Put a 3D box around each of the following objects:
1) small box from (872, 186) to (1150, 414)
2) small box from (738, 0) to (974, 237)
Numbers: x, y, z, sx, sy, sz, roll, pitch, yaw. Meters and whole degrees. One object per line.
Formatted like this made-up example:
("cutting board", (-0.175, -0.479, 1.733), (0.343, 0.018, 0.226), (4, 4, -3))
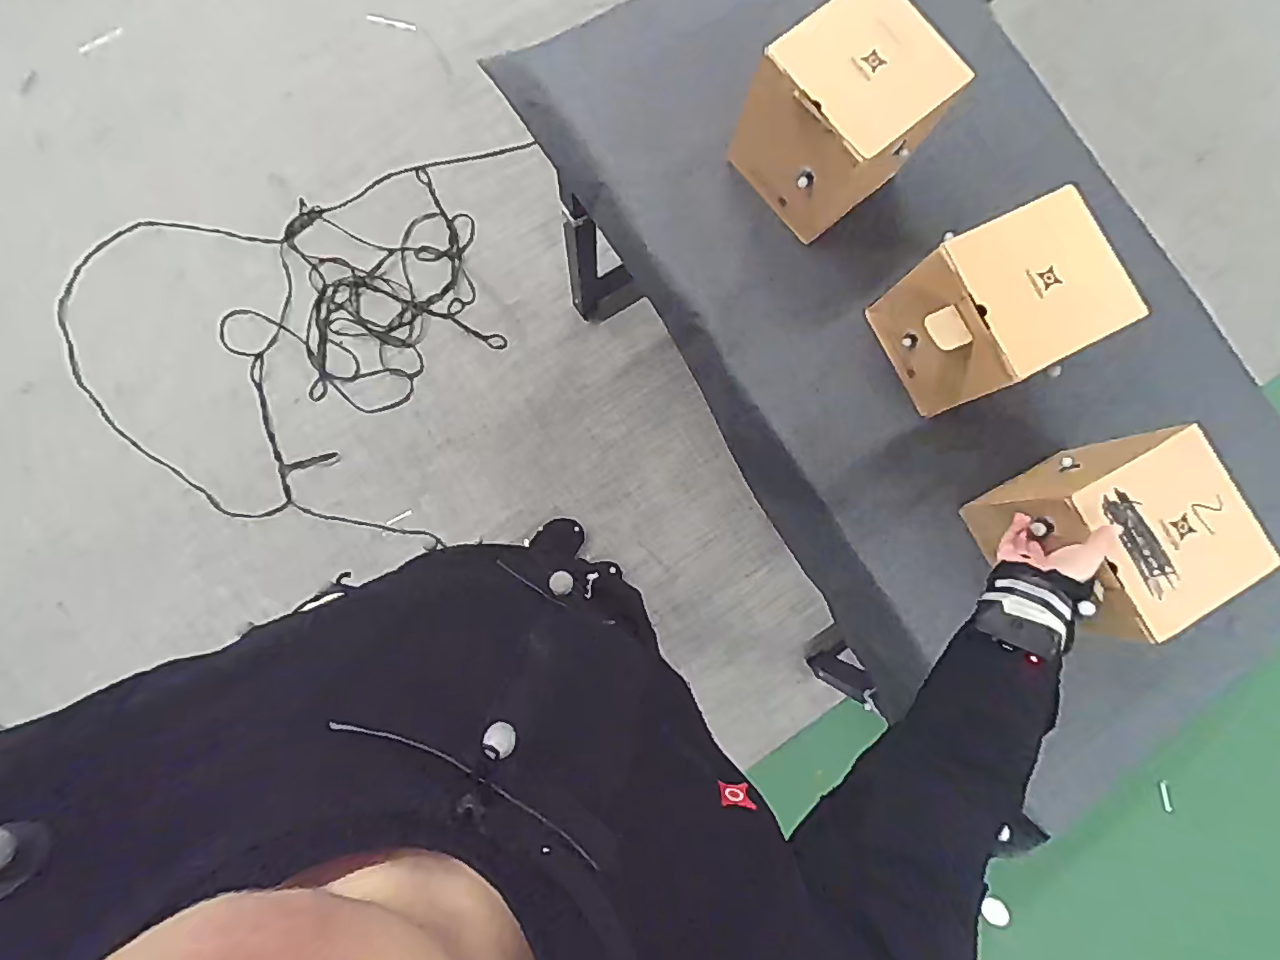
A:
("small box", (0.418, -0.198, 0.639), (0.179, 0.176, 0.168), (-26, 86, -7))
("small box", (0.239, -0.437, 0.654), (0.179, 0.176, 0.168), (-40, 89, -9))
